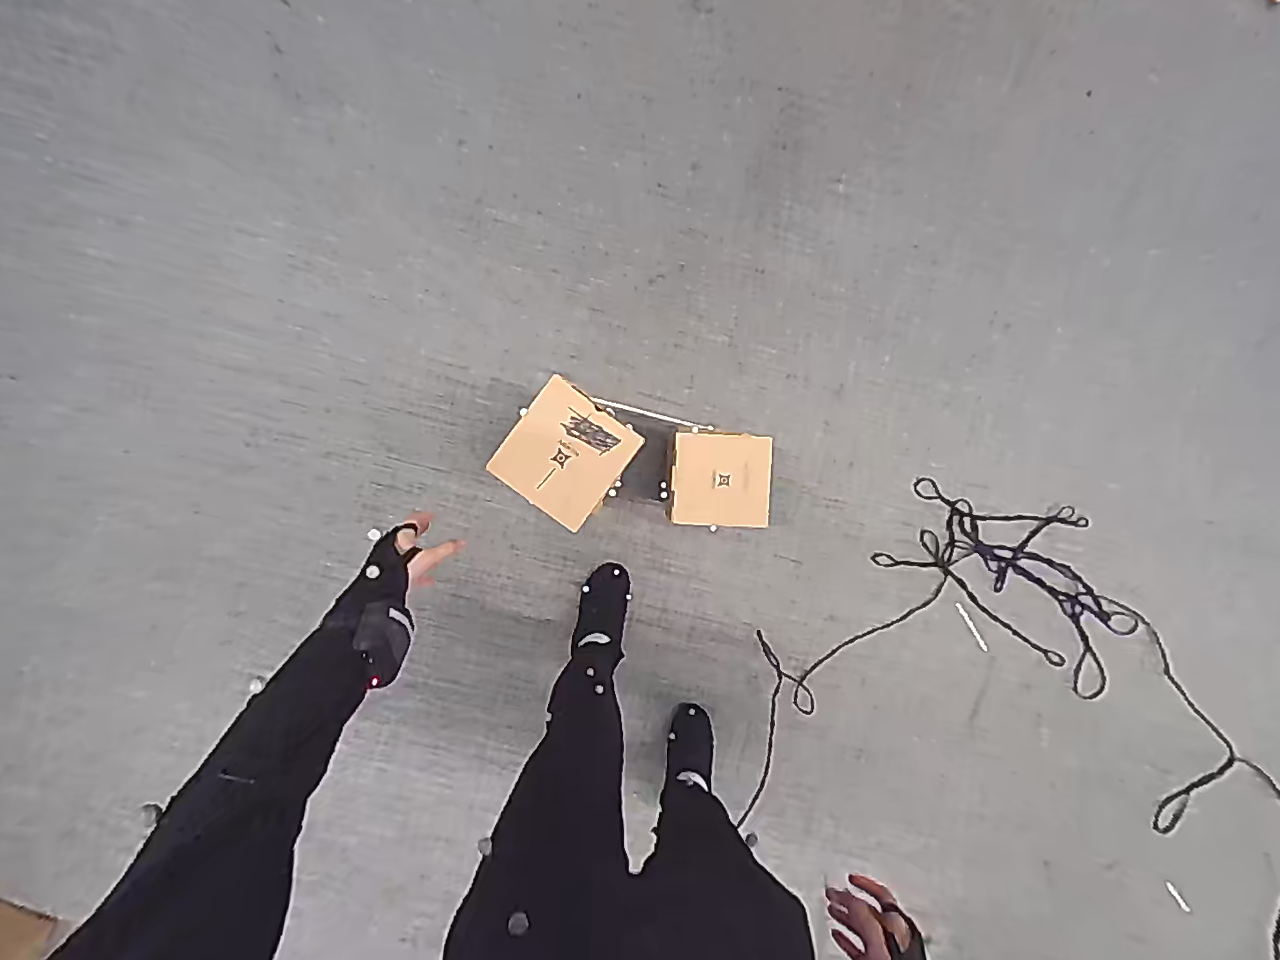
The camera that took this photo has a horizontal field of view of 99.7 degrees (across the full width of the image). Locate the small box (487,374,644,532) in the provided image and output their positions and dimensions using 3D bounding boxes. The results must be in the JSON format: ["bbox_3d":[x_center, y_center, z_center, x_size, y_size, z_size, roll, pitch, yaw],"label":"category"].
[{"bbox_3d":[-0.113,-0.042,0.867,0.168,0.176,0.179,37,90,-3],"label":"small box"}]

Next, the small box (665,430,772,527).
[{"bbox_3d":[0.142,-0.004,1.038,0.179,0.176,0.168,3,92,-2],"label":"small box"}]
